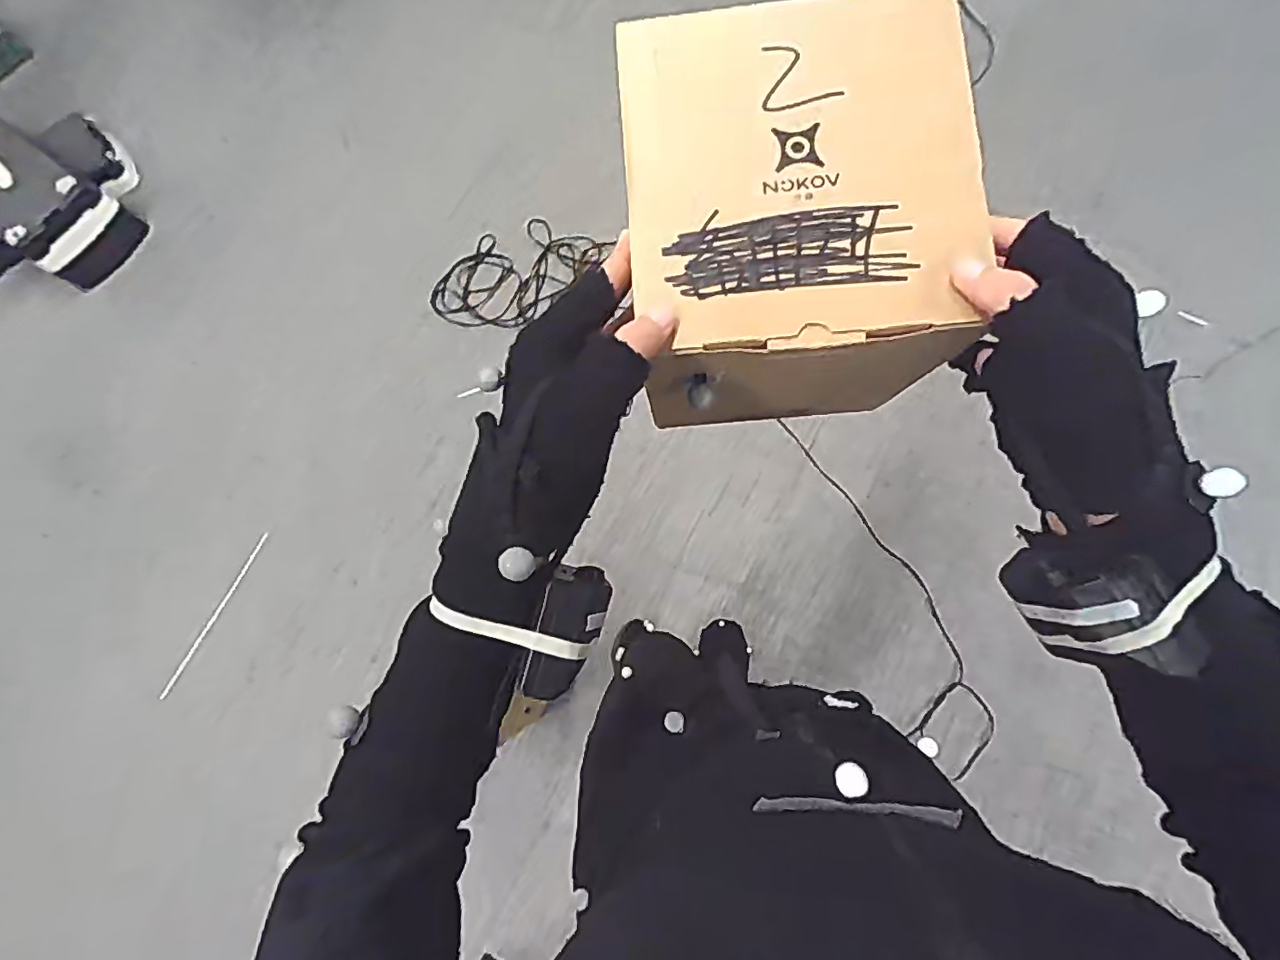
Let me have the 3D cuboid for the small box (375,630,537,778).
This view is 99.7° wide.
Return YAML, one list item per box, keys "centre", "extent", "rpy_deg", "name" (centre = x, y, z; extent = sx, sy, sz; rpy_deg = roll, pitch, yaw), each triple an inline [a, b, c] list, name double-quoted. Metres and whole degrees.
- centre: [-0.306, 0.372, 0.943]
  extent: [0.179, 0.176, 0.168]
  rpy_deg: [29, 80, 12]
  name: "small box"

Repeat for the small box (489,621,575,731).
- centre: [-0.276, 0.447, 1.259]
  extent: [0.179, 0.176, 0.168]
  rpy_deg: [32, 82, 11]
  name: "small box"
